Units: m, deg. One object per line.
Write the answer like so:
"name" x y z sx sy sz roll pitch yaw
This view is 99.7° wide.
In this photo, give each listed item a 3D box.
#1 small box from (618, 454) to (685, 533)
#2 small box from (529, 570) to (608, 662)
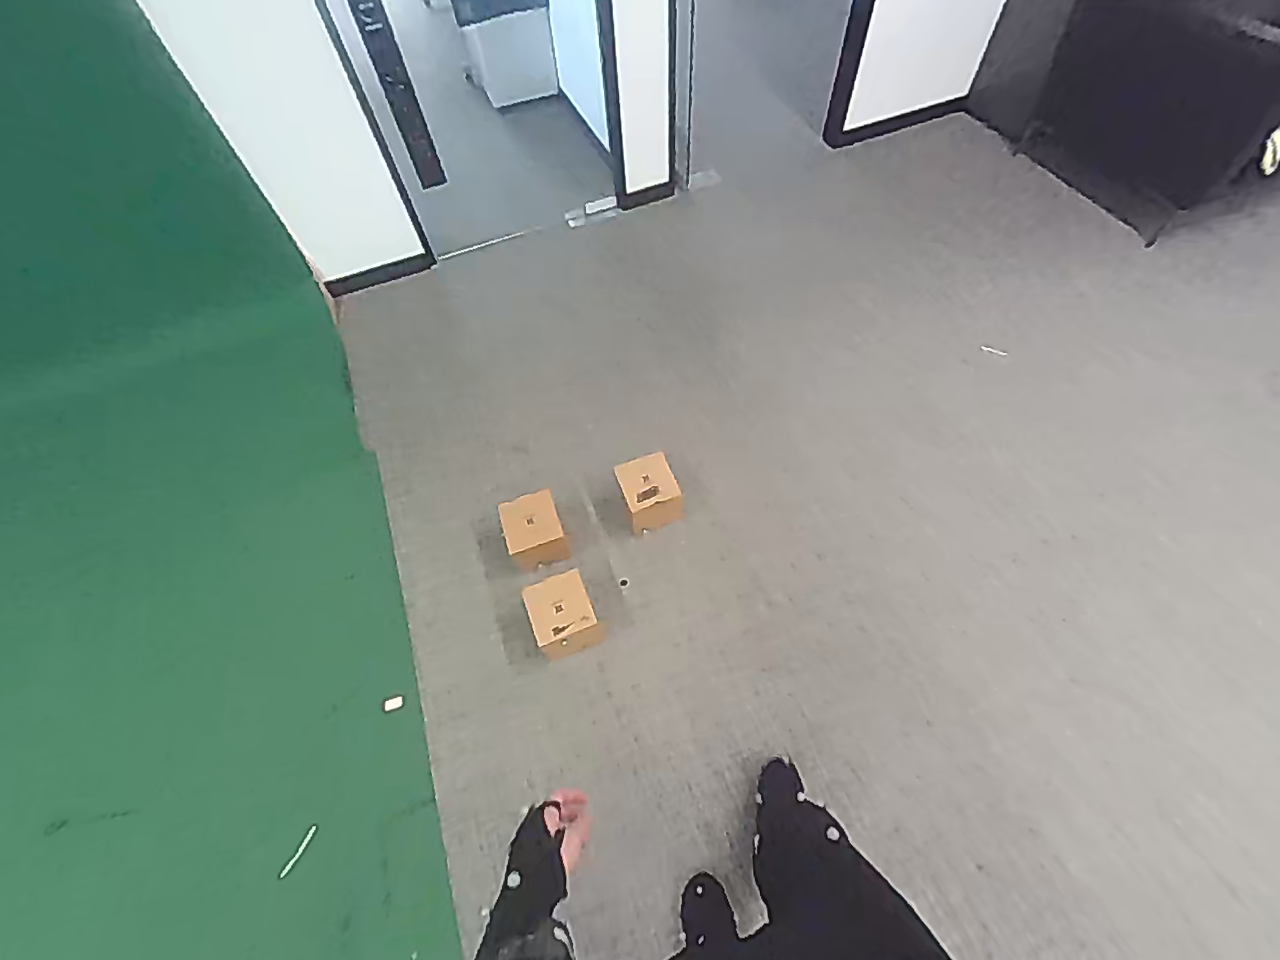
"small box" 0.040 0.051 1.723 0.168 0.176 0.179 -19 59 -7
"small box" -0.200 0.389 1.535 0.168 0.176 0.179 -21 58 -8
